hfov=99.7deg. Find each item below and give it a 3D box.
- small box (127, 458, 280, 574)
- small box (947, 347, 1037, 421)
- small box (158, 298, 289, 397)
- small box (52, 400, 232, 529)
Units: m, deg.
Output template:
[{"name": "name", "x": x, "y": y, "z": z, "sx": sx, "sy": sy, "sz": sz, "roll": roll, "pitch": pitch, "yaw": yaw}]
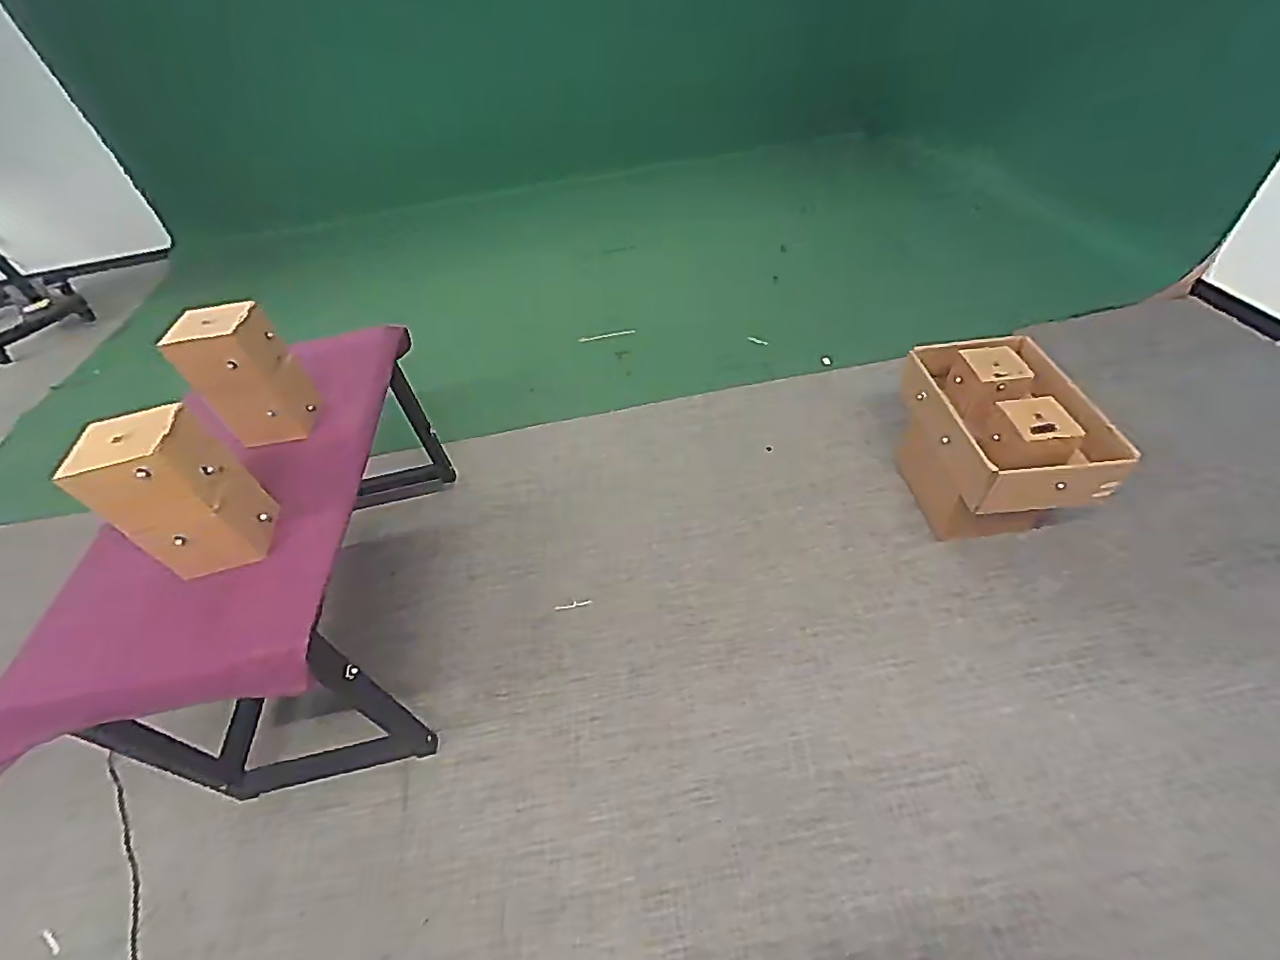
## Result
[{"name": "small box", "x": -0.944, "y": 0.083, "z": 1.189, "sx": 0.179, "sy": 0.176, "sz": 0.168, "roll": -14, "pitch": 47, "yaw": -5}, {"name": "small box", "x": 1.149, "y": -0.317, "z": 1.785, "sx": 0.168, "sy": 0.176, "sz": 0.179, "roll": -5, "pitch": 46, "yaw": 3}, {"name": "small box", "x": -1.034, "y": -0.332, "z": 1.363, "sx": 0.179, "sy": 0.176, "sz": 0.168, "roll": -9, "pitch": 47, "yaw": -1}, {"name": "small box", "x": -0.967, "y": -0.028, "z": 1.072, "sx": 0.179, "sy": 0.176, "sz": 0.168, "roll": -16, "pitch": 47, "yaw": -7}]
